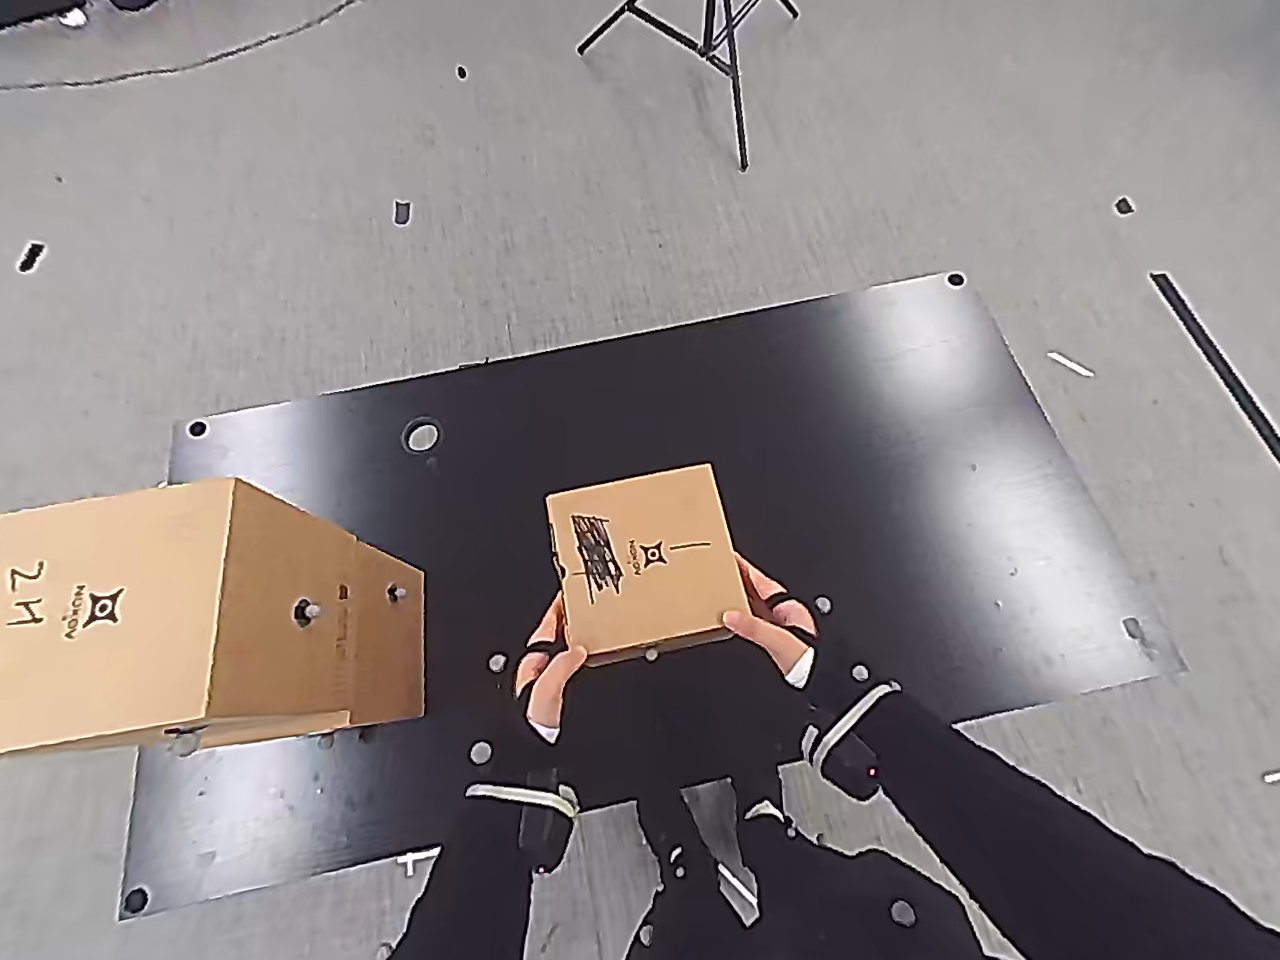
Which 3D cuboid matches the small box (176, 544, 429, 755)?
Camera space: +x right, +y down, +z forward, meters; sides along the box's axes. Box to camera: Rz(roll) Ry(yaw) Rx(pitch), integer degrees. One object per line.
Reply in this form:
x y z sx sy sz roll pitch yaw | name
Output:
-0.343 0.184 0.588 0.168 0.176 0.179 -9 70 -1 | small box

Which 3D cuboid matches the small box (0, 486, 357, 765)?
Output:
-0.356 0.119 0.437 0.179 0.176 0.168 -9 68 -1 | small box

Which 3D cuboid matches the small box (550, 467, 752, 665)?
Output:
0.009 0.105 0.604 0.179 0.176 0.168 -11 69 -3 | small box
